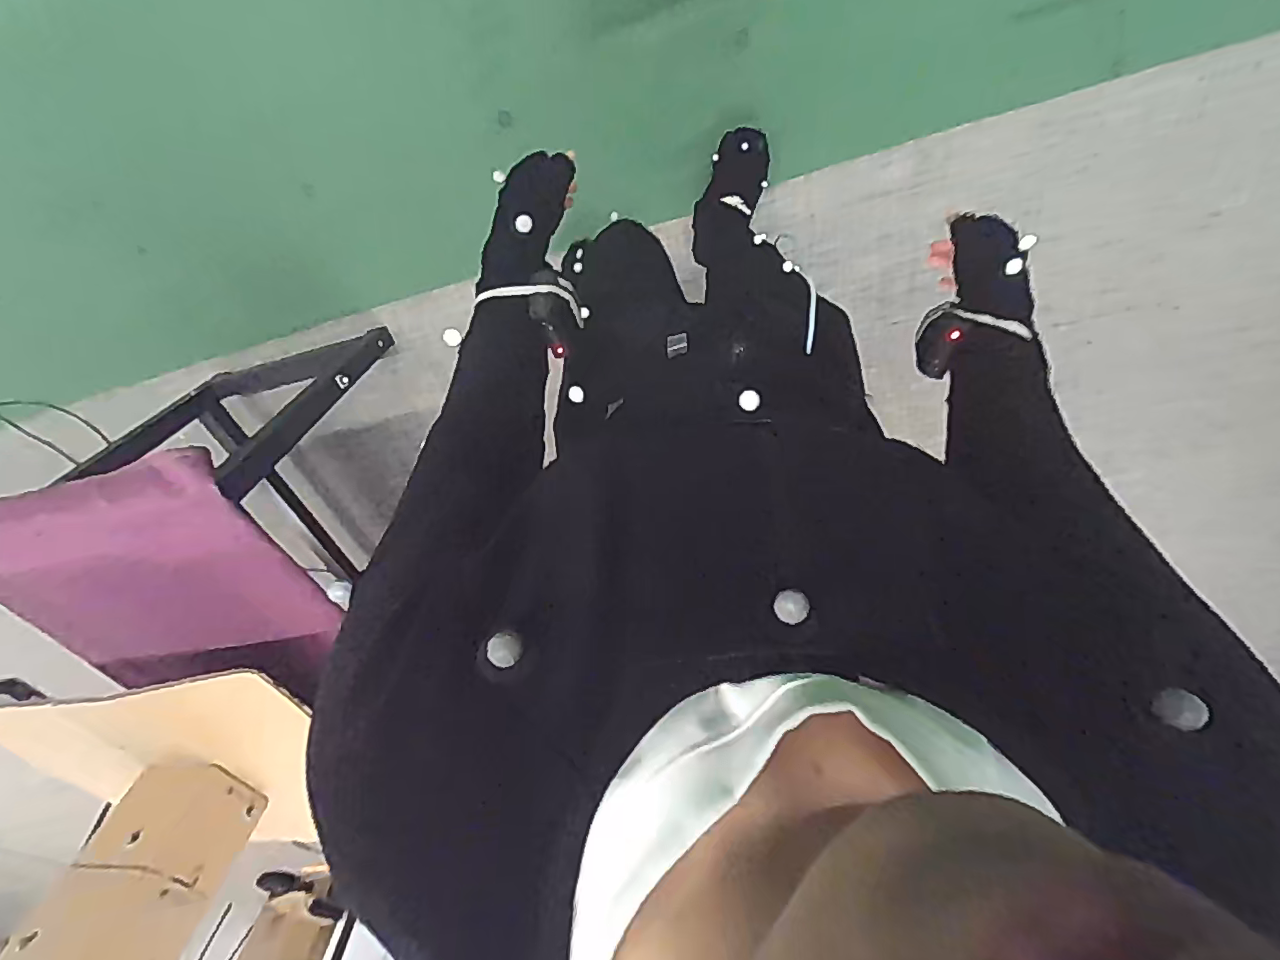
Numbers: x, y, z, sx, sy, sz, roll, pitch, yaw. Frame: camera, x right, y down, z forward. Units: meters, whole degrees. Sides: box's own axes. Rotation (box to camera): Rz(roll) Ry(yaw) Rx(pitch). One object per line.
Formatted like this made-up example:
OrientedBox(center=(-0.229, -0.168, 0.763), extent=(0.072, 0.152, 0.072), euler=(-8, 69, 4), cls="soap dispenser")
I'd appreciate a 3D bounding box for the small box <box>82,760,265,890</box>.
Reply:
OrientedBox(center=(-0.866, 0.655, 1.033), extent=(0.179, 0.176, 0.168), euler=(-7, 127, 13), cls="small box")
